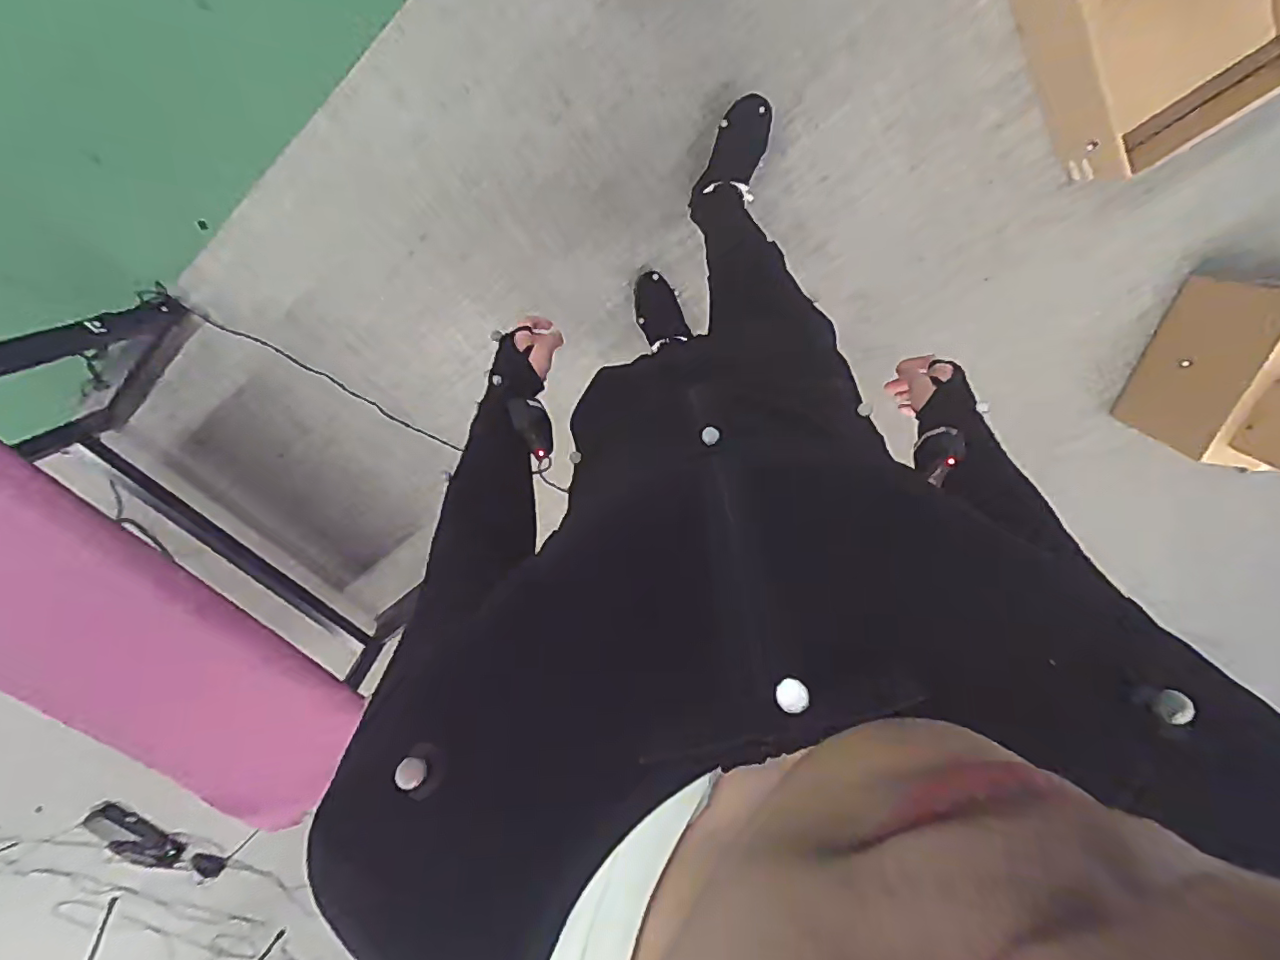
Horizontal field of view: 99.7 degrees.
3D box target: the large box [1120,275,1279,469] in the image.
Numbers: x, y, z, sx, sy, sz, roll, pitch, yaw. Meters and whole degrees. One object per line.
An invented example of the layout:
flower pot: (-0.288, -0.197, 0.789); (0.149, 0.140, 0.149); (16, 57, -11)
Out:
large box: (1.544, -0.270, 1.349); (0.320, 0.320, 0.408); (5, 117, -1)
